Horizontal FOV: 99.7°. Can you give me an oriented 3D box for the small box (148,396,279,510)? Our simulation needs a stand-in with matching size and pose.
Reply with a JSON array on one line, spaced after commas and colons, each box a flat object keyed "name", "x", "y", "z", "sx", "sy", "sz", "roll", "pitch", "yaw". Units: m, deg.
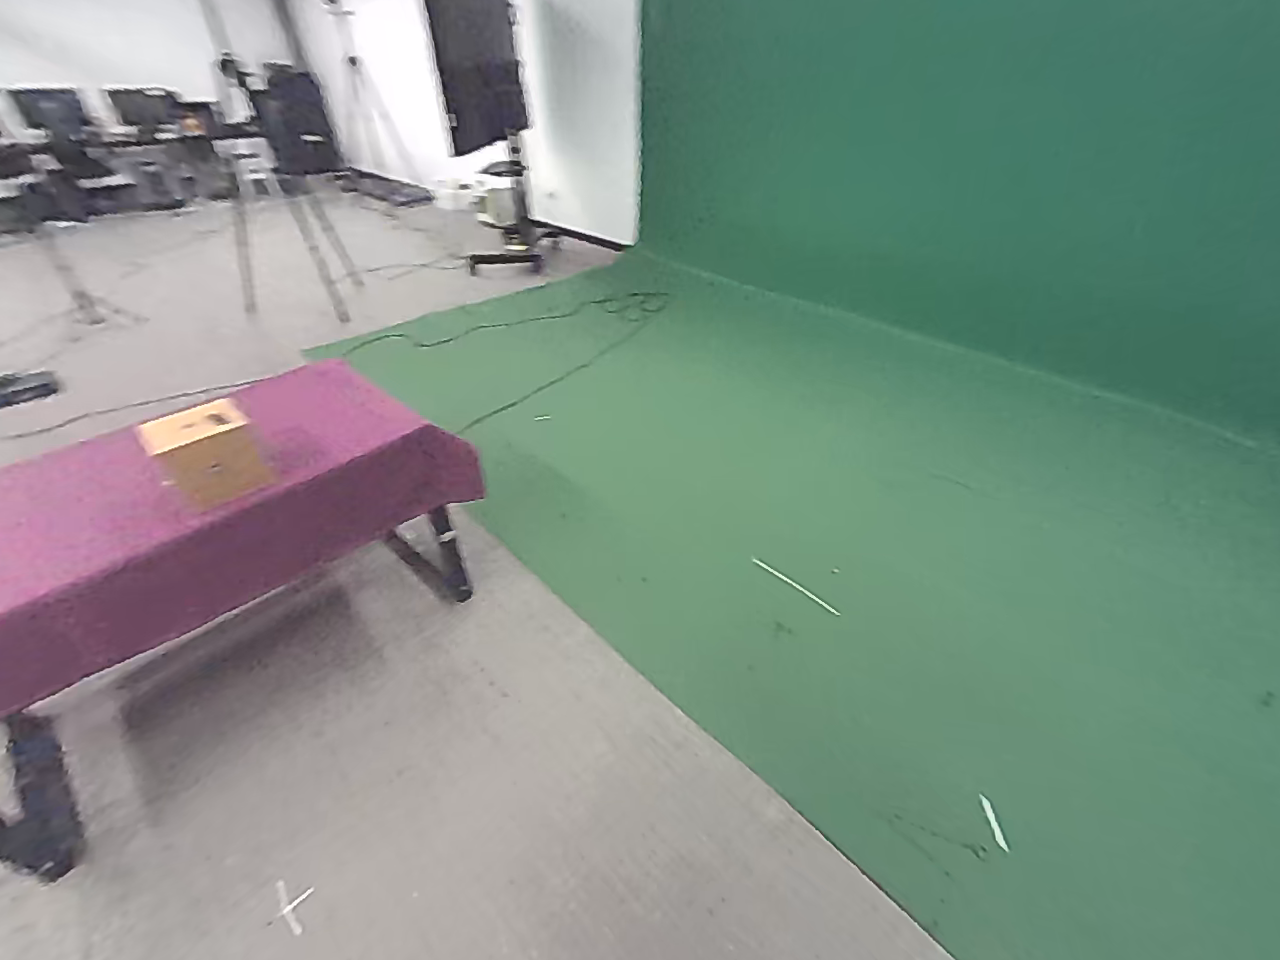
[{"name": "small box", "x": -0.965, "y": -0.063, "z": 1.240, "sx": 0.179, "sy": 0.176, "sz": 0.168, "roll": -32, "pitch": 48, "yaw": -32}]
